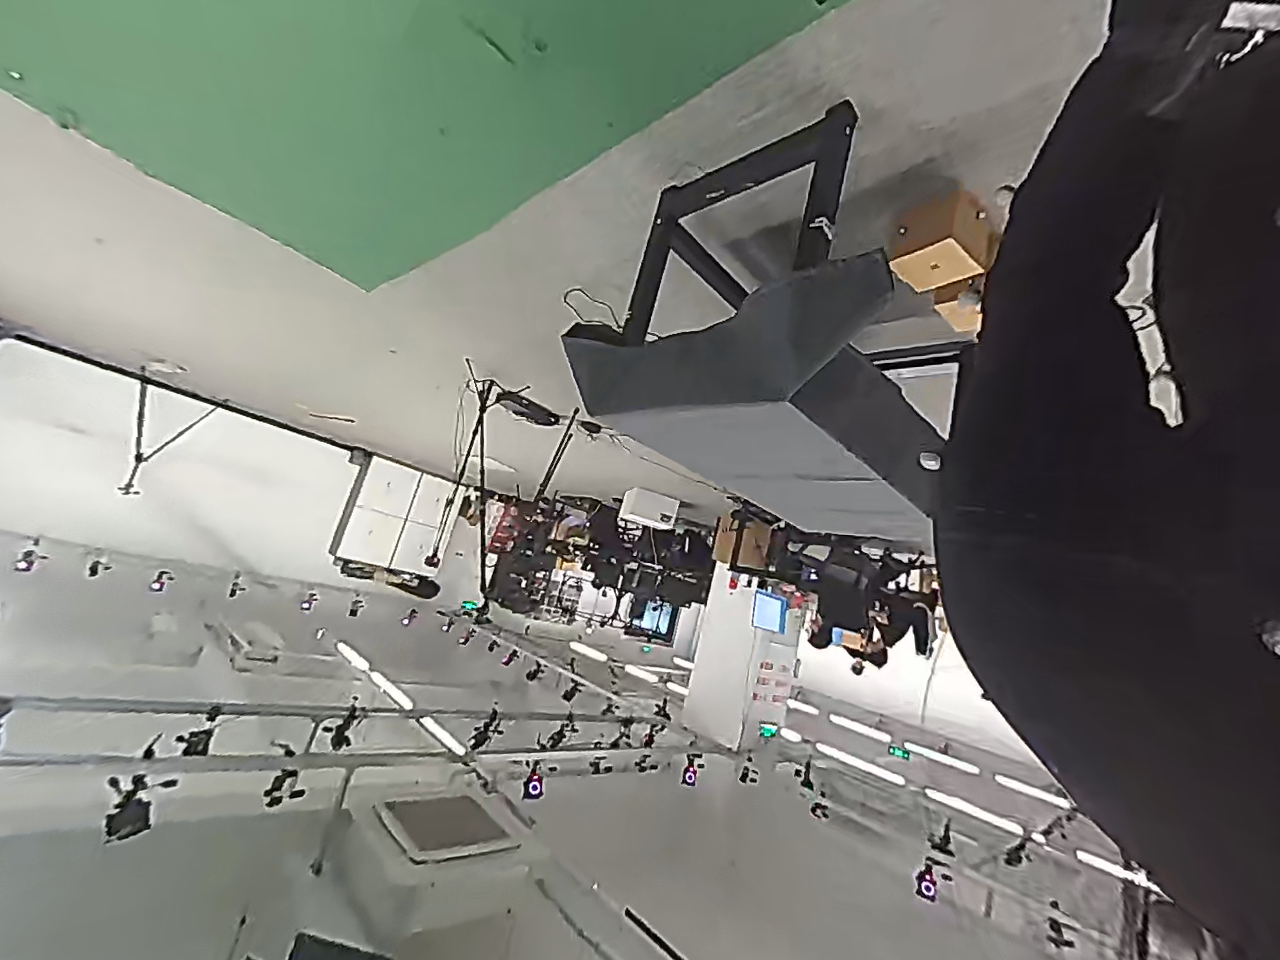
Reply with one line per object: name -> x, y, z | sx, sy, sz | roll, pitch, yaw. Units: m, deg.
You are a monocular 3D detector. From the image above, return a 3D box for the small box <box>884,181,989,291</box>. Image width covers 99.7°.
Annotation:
small box -> 0.776, -0.632, 1.413 | 0.168, 0.176, 0.179 | 20, 168, -31
